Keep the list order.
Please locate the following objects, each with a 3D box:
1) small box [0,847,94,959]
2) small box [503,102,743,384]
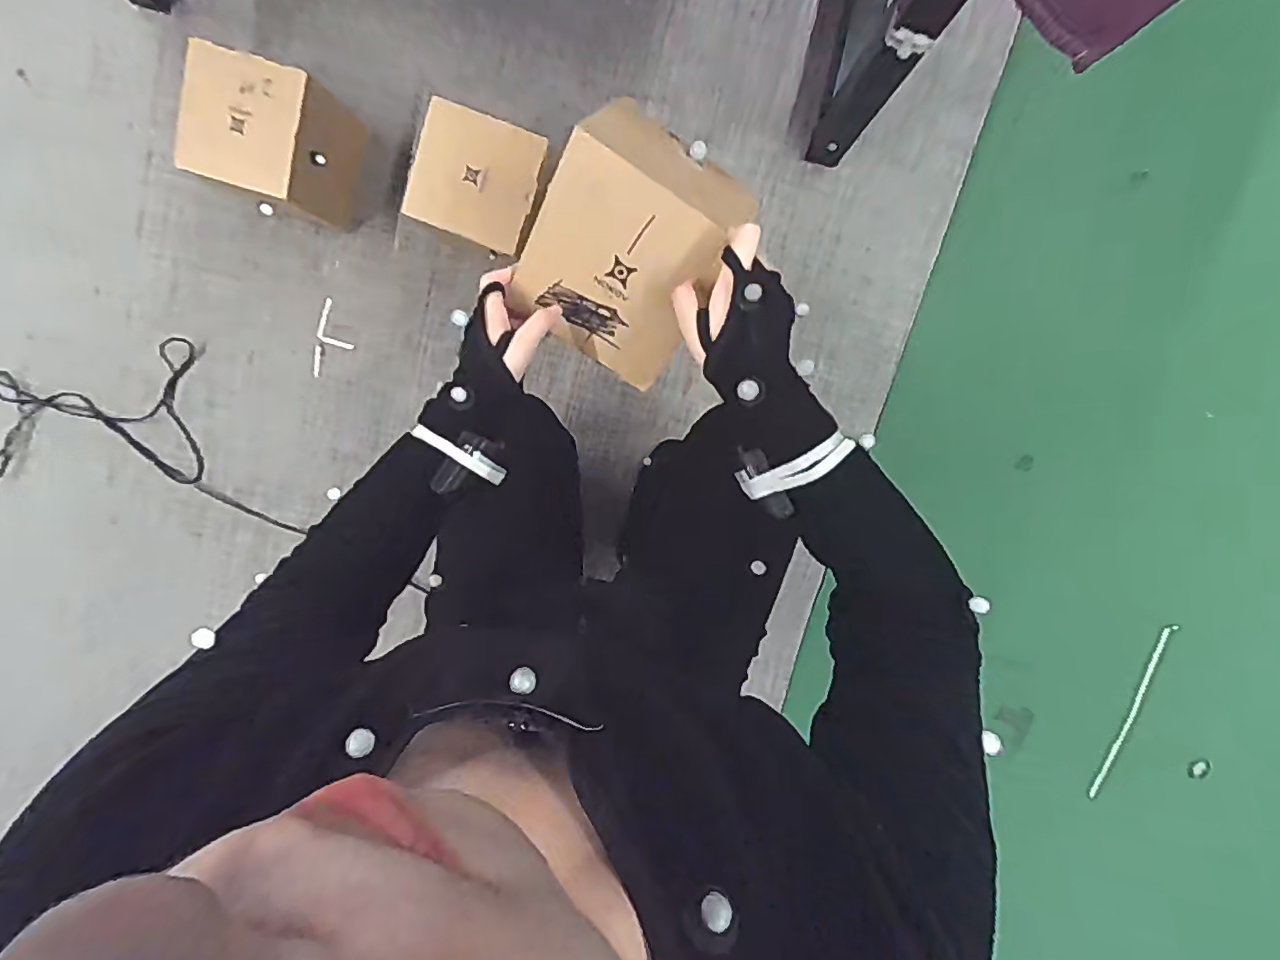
[{"bbox_3d":[-1.233,0.868,1.052,0.168,0.176,0.179,18,98,-2],"label":"small box"},{"bbox_3d":[-0.009,-0.239,0.548,0.168,0.176,0.179,30,131,-11],"label":"small box"}]
